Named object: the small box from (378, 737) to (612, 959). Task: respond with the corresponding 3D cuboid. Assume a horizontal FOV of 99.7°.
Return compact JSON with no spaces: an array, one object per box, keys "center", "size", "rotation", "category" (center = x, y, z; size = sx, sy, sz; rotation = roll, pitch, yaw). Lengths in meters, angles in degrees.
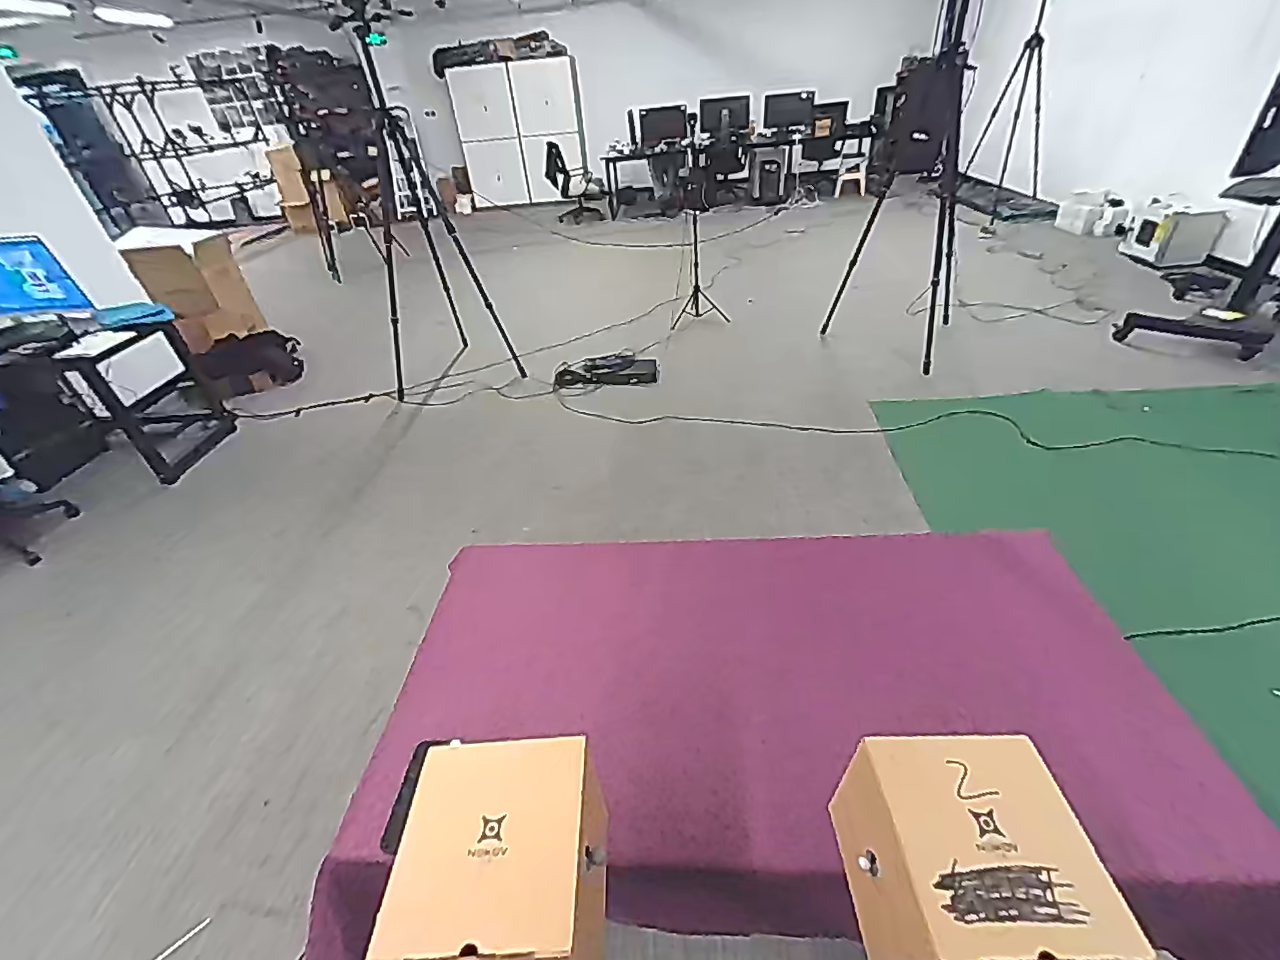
[{"center":[-0.120,0.383,0.533],"size":[0.168,0.176,0.179],"rotation":[-5,36,2],"category":"small box"}]
